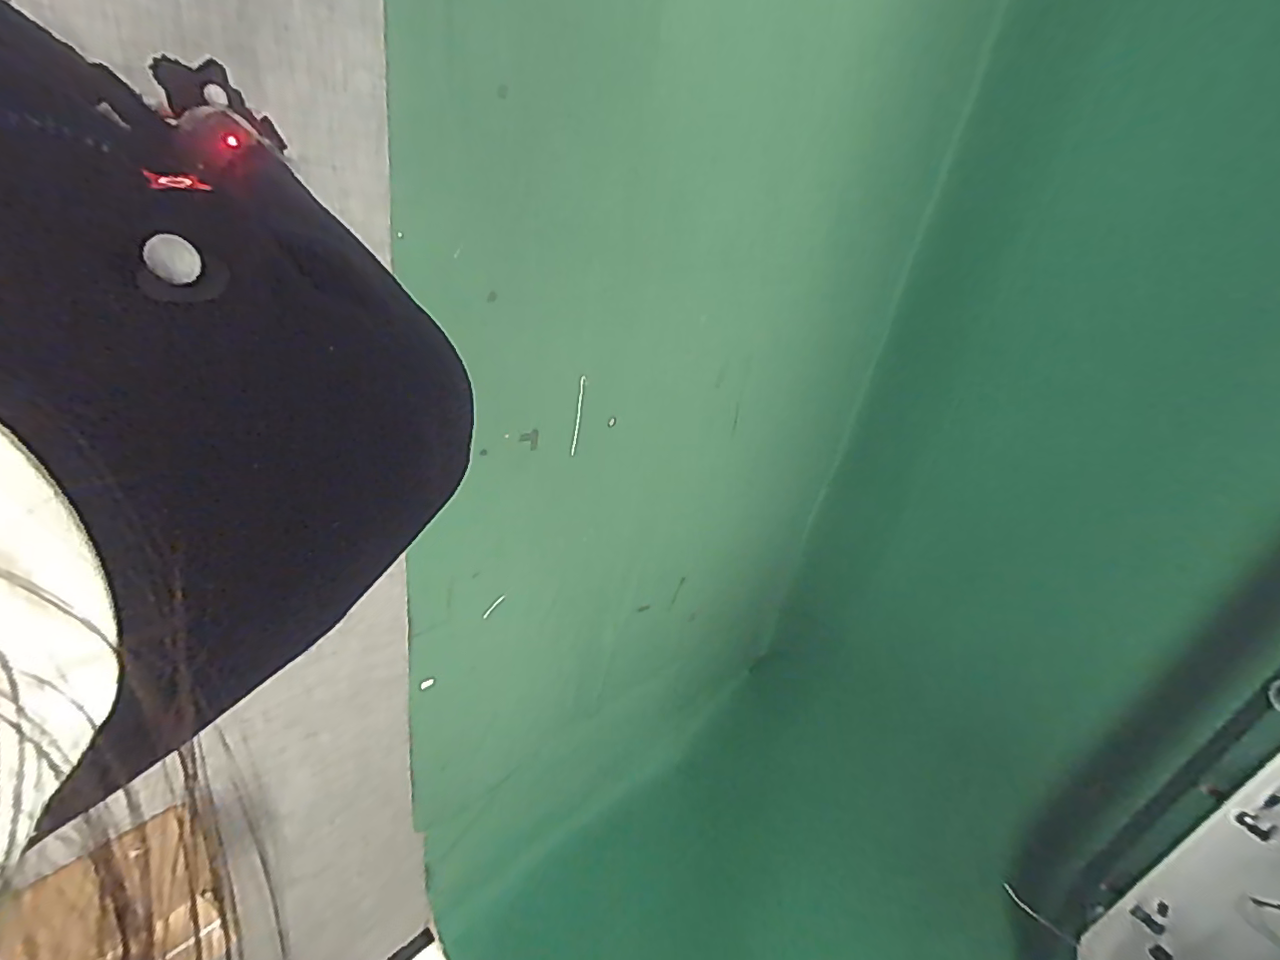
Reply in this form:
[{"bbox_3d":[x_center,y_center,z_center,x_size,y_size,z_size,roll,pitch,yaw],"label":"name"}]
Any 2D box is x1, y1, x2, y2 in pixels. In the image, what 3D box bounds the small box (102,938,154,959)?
[{"bbox_3d":[-1.268,1.260,1.287,0.179,0.176,0.168,-20,129,-39],"label":"small box"}]
